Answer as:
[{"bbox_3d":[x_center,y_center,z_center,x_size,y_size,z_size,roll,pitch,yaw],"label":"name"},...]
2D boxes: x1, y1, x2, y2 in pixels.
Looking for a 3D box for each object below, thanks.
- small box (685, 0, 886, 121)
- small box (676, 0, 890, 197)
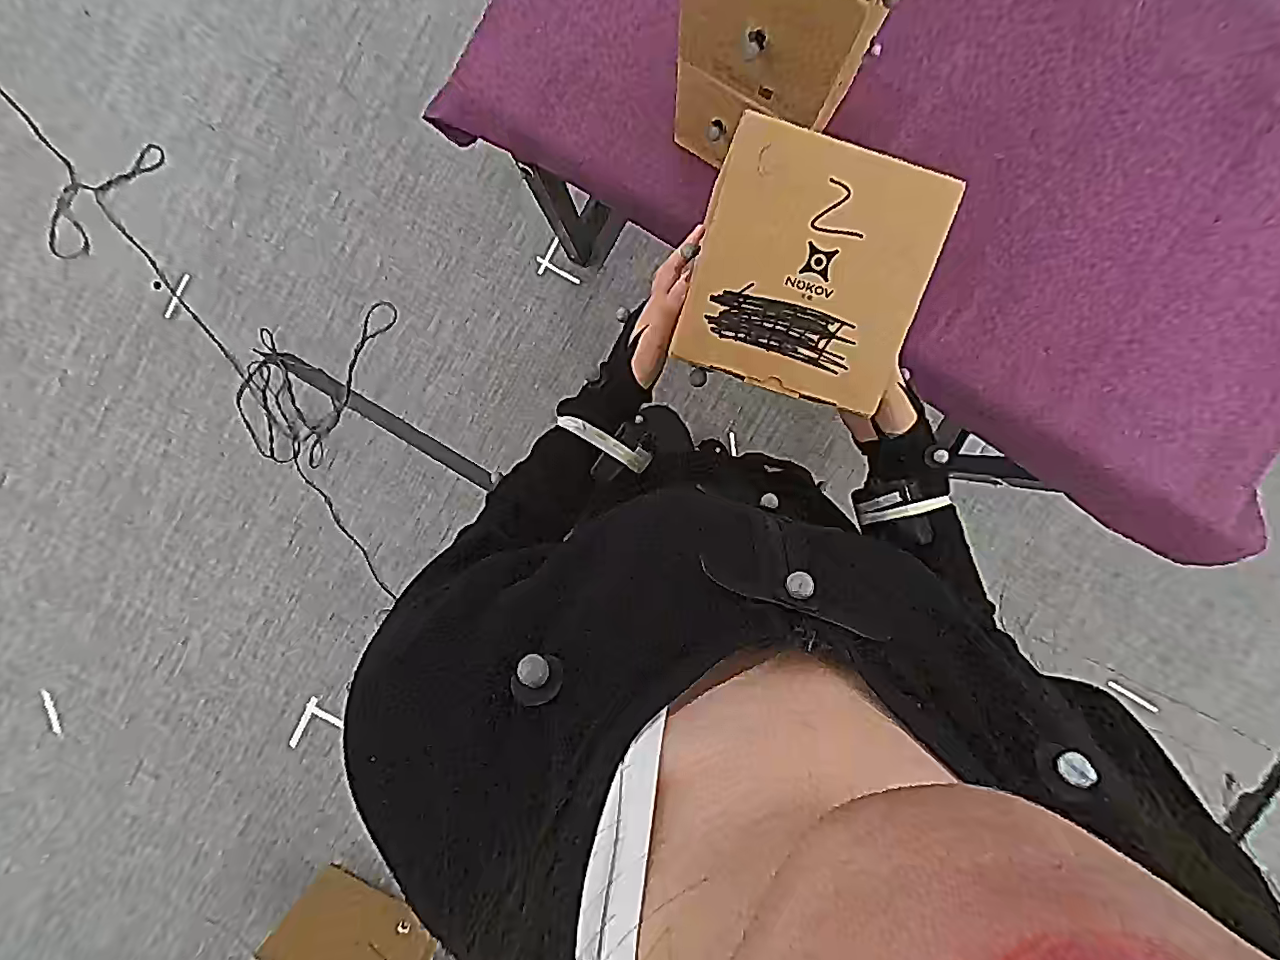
[{"bbox_3d":[0.150,-0.479,0.489,0.168,0.176,0.179,30,95,0],"label":"small box"},{"bbox_3d":[0.156,-0.485,0.653,0.168,0.176,0.179,31,94,0],"label":"small box"}]
